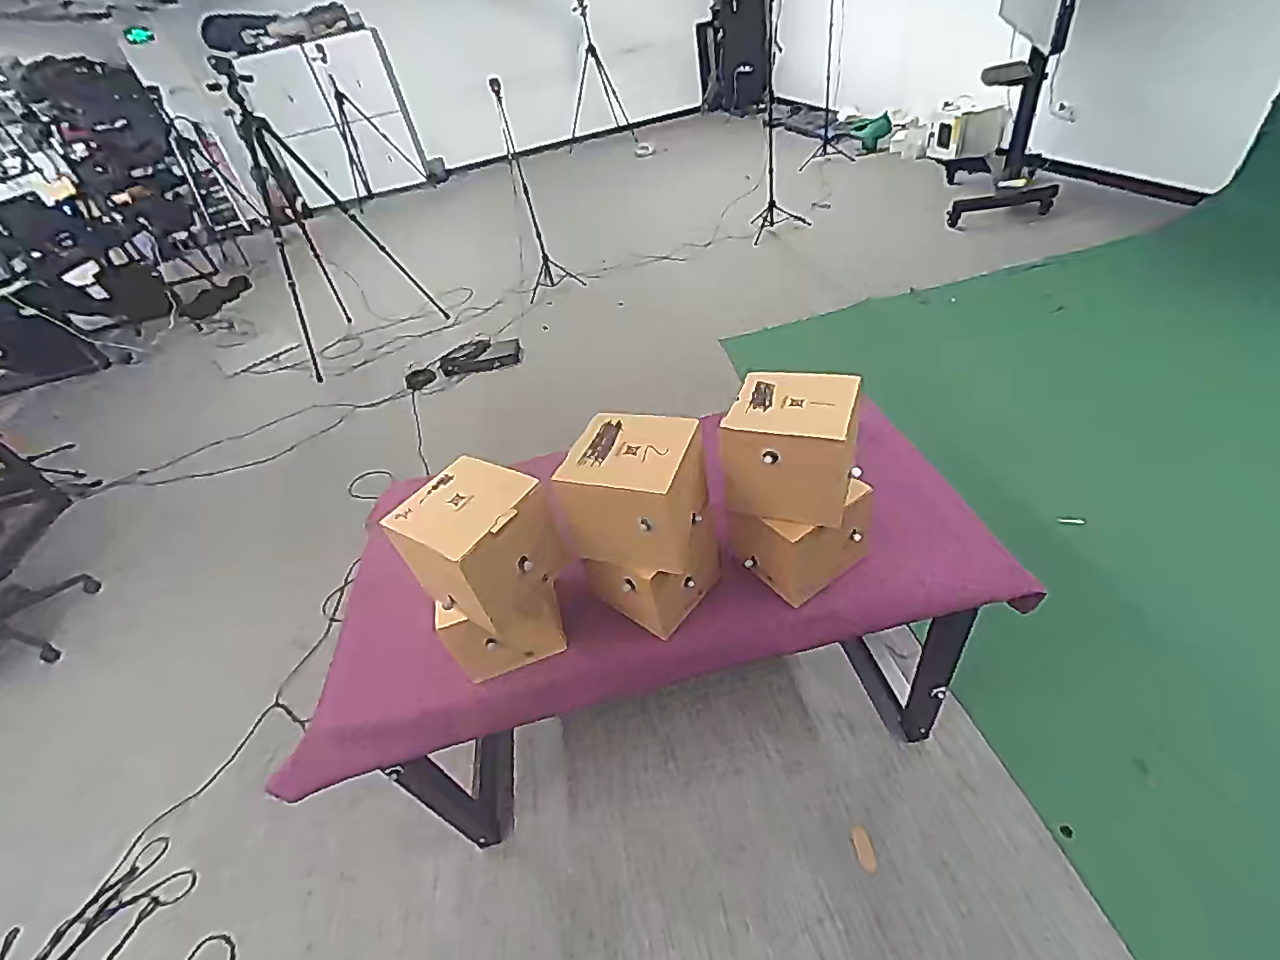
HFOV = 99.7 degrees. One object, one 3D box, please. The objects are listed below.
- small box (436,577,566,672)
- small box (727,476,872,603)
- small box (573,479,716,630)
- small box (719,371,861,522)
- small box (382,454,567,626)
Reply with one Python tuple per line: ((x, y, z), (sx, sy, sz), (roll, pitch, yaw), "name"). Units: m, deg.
((-0.237, 0.206, 0.932), (0.168, 0.176, 0.179), (-19, 40, -7), "small box")
((0.272, 0.075, 0.941), (0.179, 0.176, 0.168), (-30, 41, -17), "small box")
((0.017, 0.132, 0.943), (0.179, 0.176, 0.168), (25, 52, 37), "small box")
((0.238, -0.054, 0.846), (0.179, 0.176, 0.168), (9, 44, 25), "small box")
((-0.235, 0.090, 0.810), (0.179, 0.176, 0.168), (18, 48, 31), "small box")
